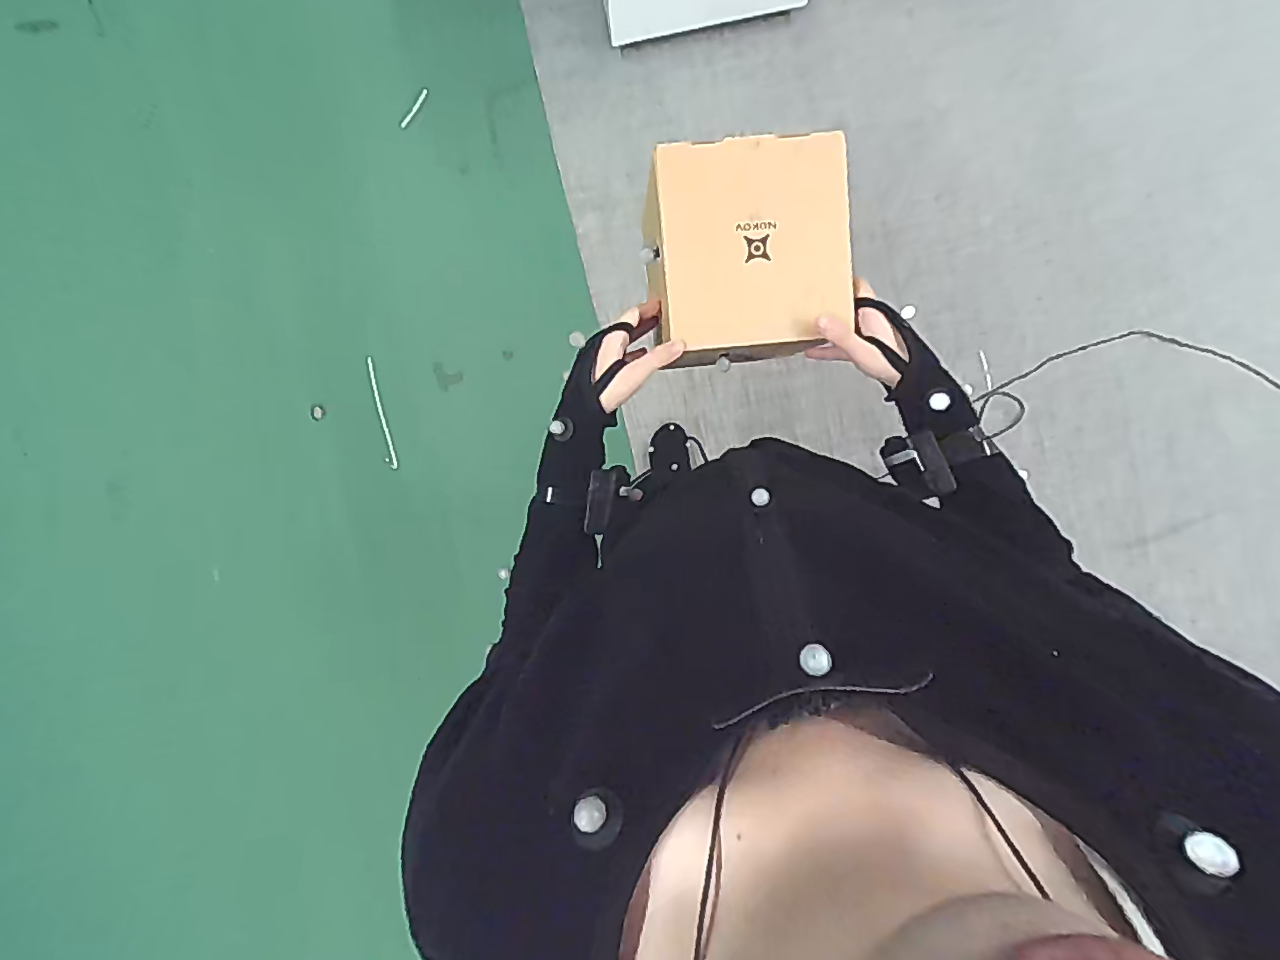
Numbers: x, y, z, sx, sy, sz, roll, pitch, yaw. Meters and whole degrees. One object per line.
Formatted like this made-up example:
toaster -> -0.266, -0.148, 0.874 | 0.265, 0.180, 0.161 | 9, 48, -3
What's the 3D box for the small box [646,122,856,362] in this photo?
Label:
small box -> 0.097, -0.215, 0.538 | 0.168, 0.176, 0.179 | -6, 95, -2
